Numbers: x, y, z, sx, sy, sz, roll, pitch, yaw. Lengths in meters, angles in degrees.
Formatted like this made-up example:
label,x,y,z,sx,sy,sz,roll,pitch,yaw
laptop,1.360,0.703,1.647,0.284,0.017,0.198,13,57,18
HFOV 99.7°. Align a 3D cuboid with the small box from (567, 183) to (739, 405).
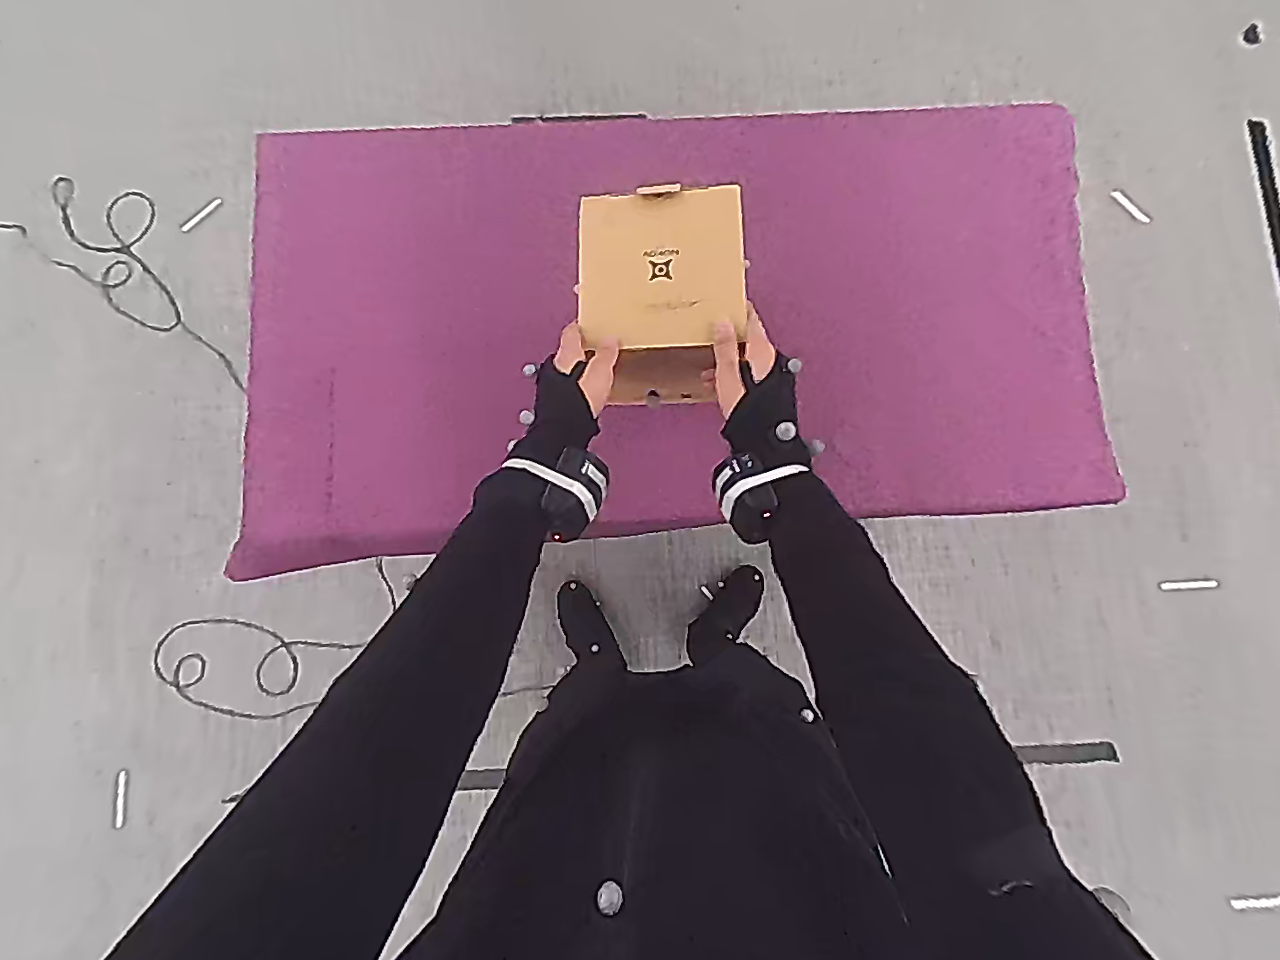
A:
label,x,y,z,sx,sy,sz,roll,pitch,yaw
small box,0.019,-0.195,0.605,0.168,0.176,0.179,-1,79,5
